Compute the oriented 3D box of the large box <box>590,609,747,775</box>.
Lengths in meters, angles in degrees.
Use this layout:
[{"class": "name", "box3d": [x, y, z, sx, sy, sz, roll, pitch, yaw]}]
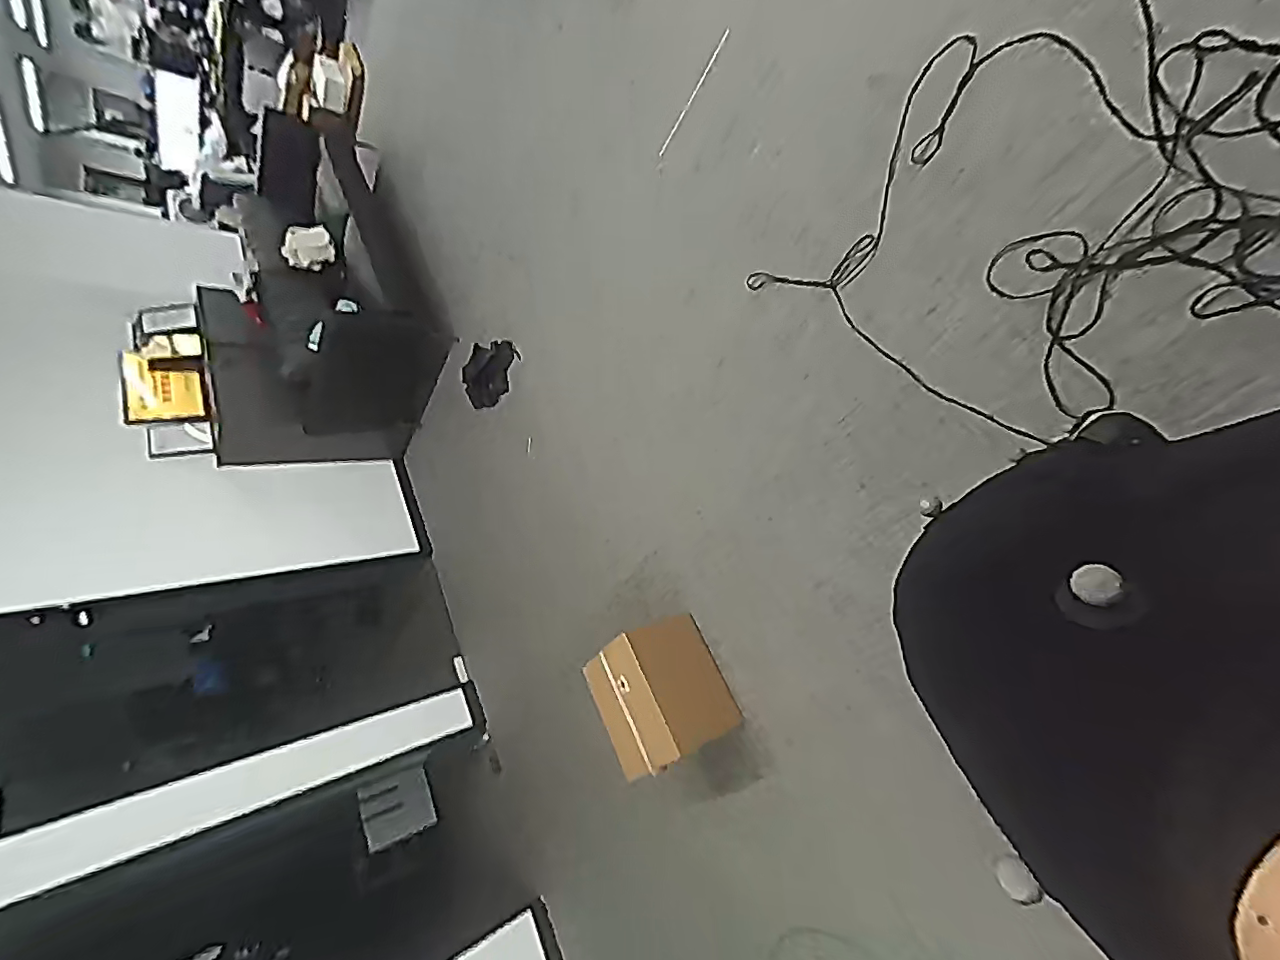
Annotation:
[{"class": "large box", "box3d": [0.089, 0.716, 1.857, 0.320, 0.320, 0.408, -49, 57, 39]}]
